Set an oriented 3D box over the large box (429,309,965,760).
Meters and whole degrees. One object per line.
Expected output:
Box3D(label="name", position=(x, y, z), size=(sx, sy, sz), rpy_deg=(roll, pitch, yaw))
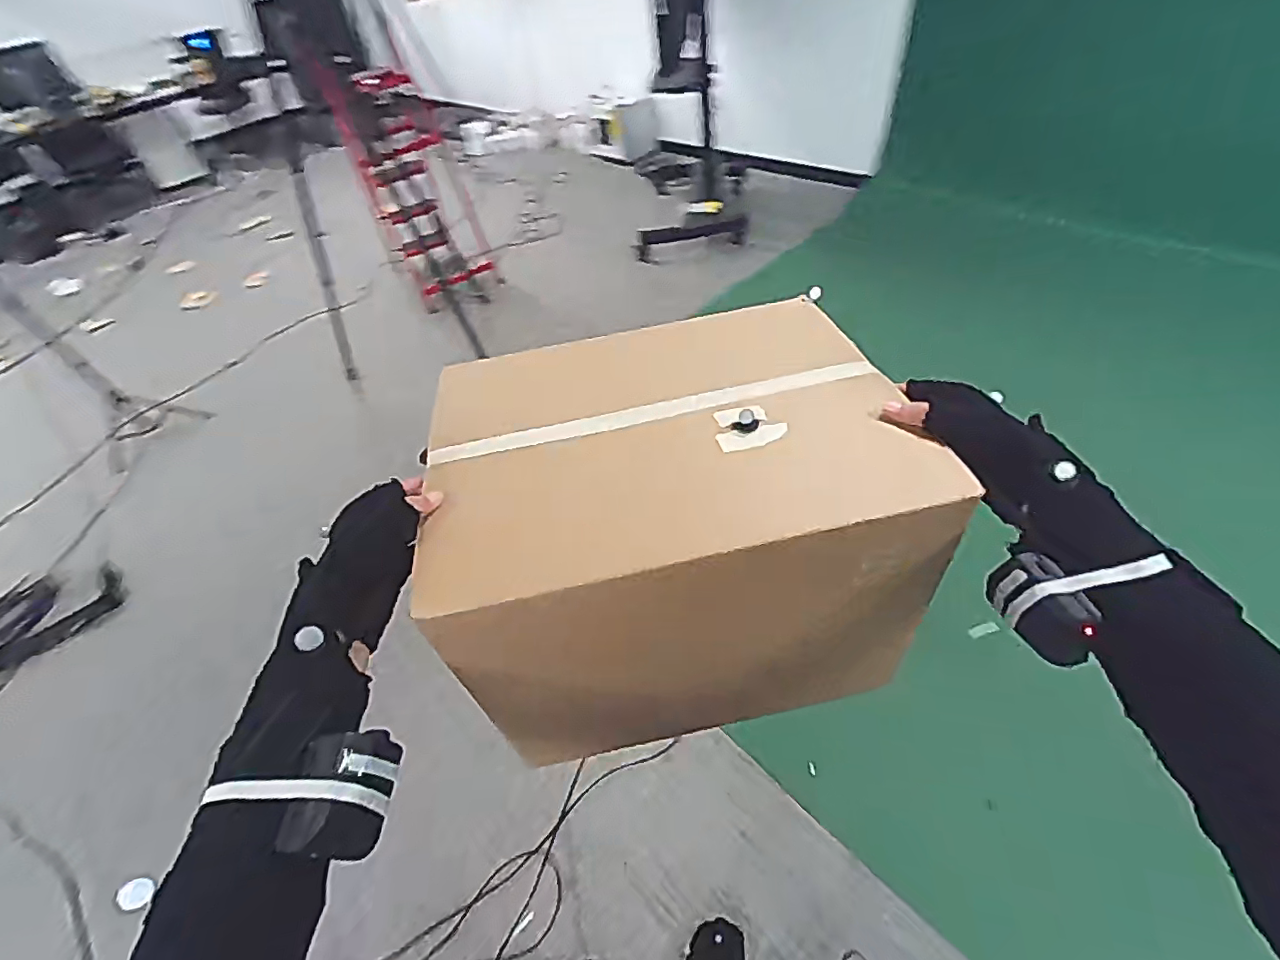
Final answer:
Box3D(label="large box", position=(0.034, 0.056, 0.590), size=(0.408, 0.320, 0.320), rpy_deg=(-11, 45, -3))
